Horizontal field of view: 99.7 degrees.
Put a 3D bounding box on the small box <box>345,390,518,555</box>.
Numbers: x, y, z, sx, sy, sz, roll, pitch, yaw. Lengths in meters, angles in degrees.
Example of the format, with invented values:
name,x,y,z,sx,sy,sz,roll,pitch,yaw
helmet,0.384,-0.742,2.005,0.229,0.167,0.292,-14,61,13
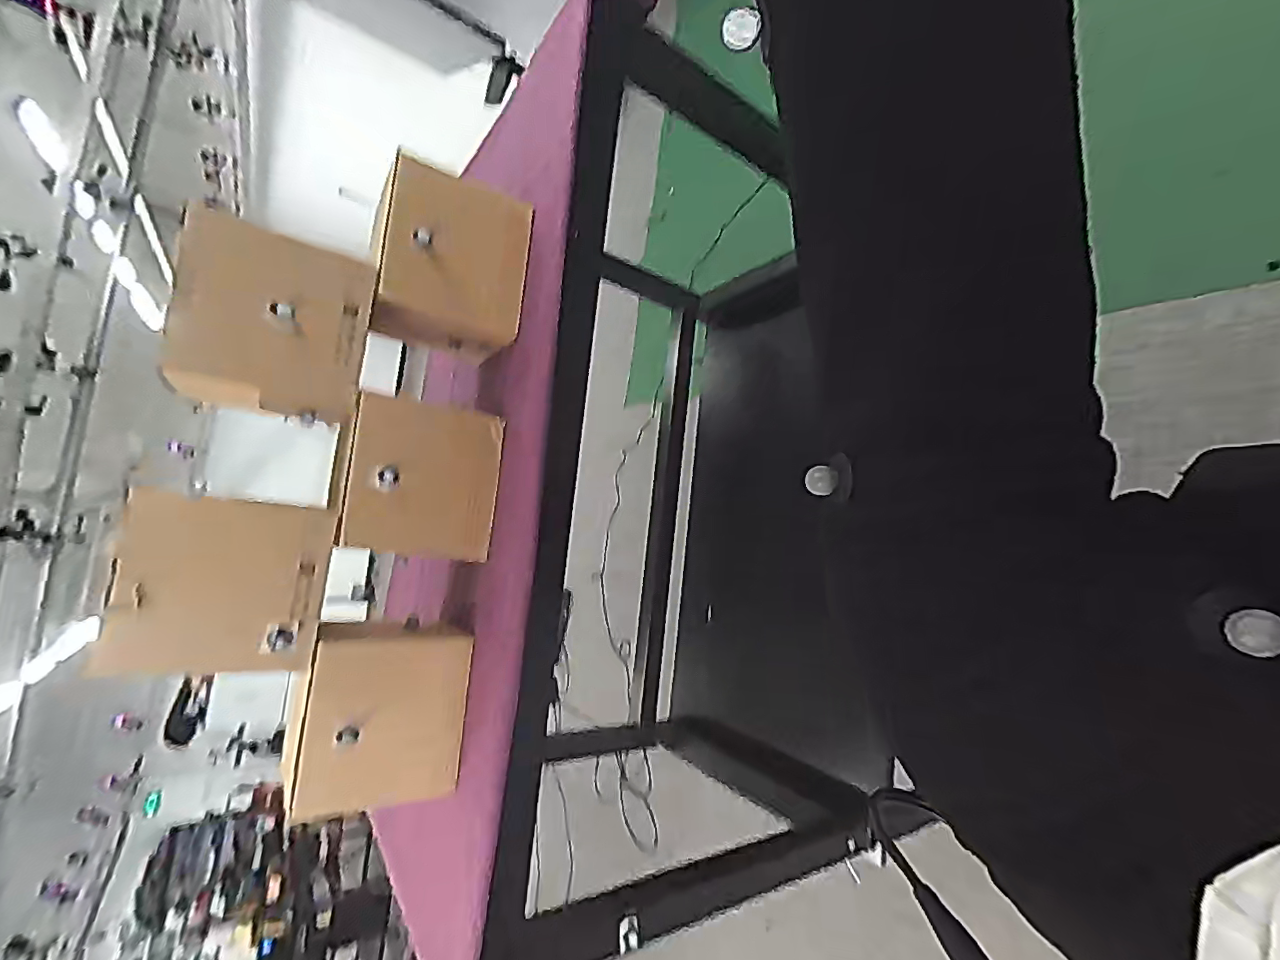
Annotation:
name,x,y,z,sx,sy,sz,roll,pitch,yaw
small box,-0.267,-0.001,0.688,0.168,0.176,0.179,-3,79,56

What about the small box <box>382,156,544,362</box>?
name,x,y,z,sx,sy,sz,roll,pitch,yaw
small box,-0.240,-0.276,0.721,0.168,0.176,0.179,-3,80,56

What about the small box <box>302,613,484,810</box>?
name,x,y,z,sx,sy,sz,roll,pitch,yaw
small box,-0.302,0.264,0.664,0.168,0.176,0.179,-6,77,55

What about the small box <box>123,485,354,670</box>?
name,x,y,z,sx,sy,sz,roll,pitch,yaw
small box,-0.424,0.098,0.596,0.179,0.176,0.168,-1,80,57

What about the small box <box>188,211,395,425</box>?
name,x,y,z,sx,sy,sz,roll,pitch,yaw
small box,-0.394,-0.167,0.625,0.179,0.176,0.168,-4,78,56
